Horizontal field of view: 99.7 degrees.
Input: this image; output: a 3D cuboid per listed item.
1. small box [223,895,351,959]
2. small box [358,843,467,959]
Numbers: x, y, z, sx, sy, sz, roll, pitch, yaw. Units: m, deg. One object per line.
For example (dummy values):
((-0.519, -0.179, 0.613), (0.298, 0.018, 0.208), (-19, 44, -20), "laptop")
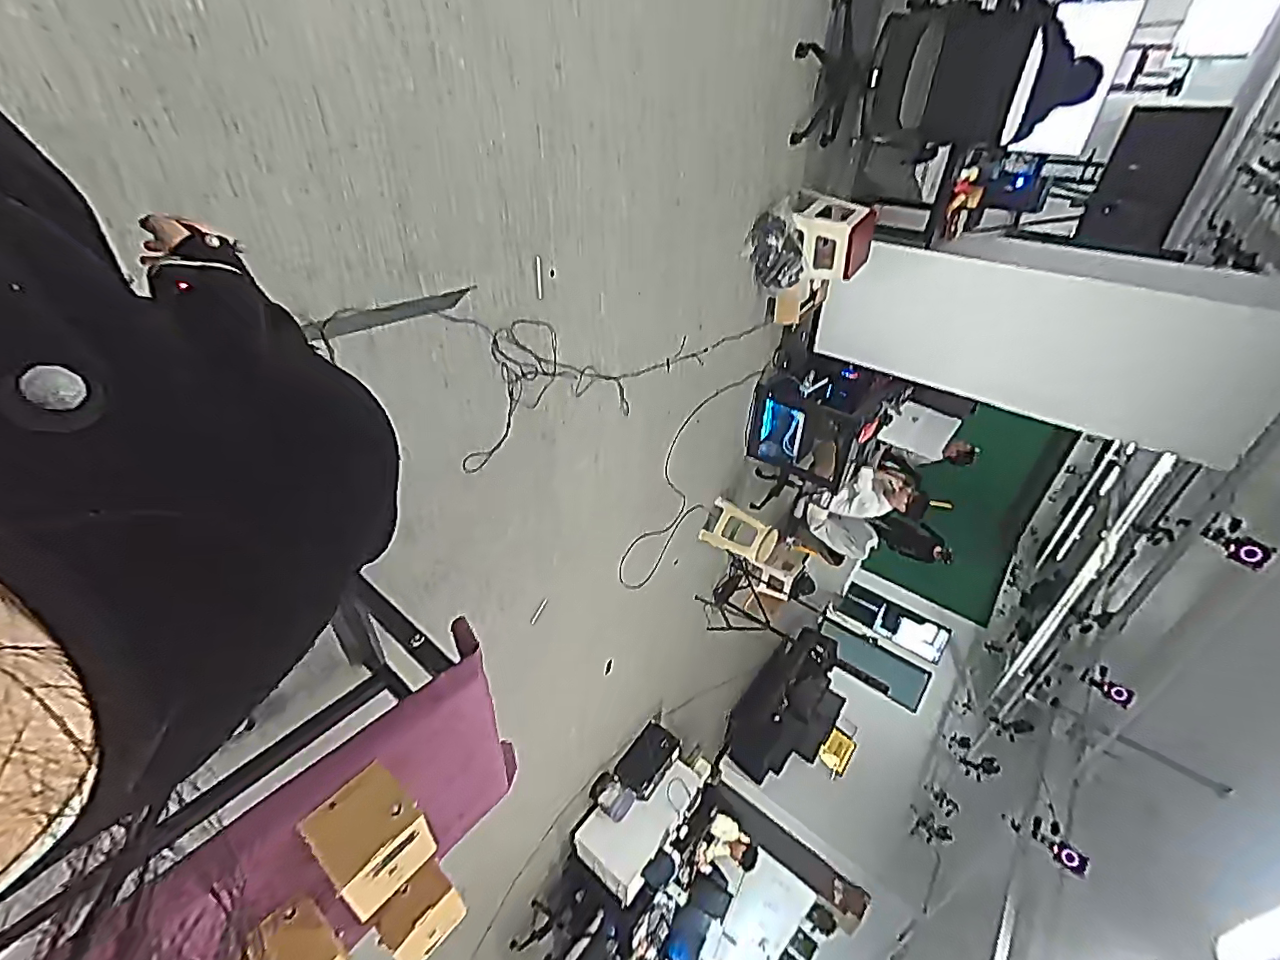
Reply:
((-0.692, 0.976, 1.069), (0.168, 0.176, 0.179), (-34, 140, -40), "small box")
((-0.556, 1.038, 1.321), (0.168, 0.176, 0.179), (-34, 137, -39), "small box")
